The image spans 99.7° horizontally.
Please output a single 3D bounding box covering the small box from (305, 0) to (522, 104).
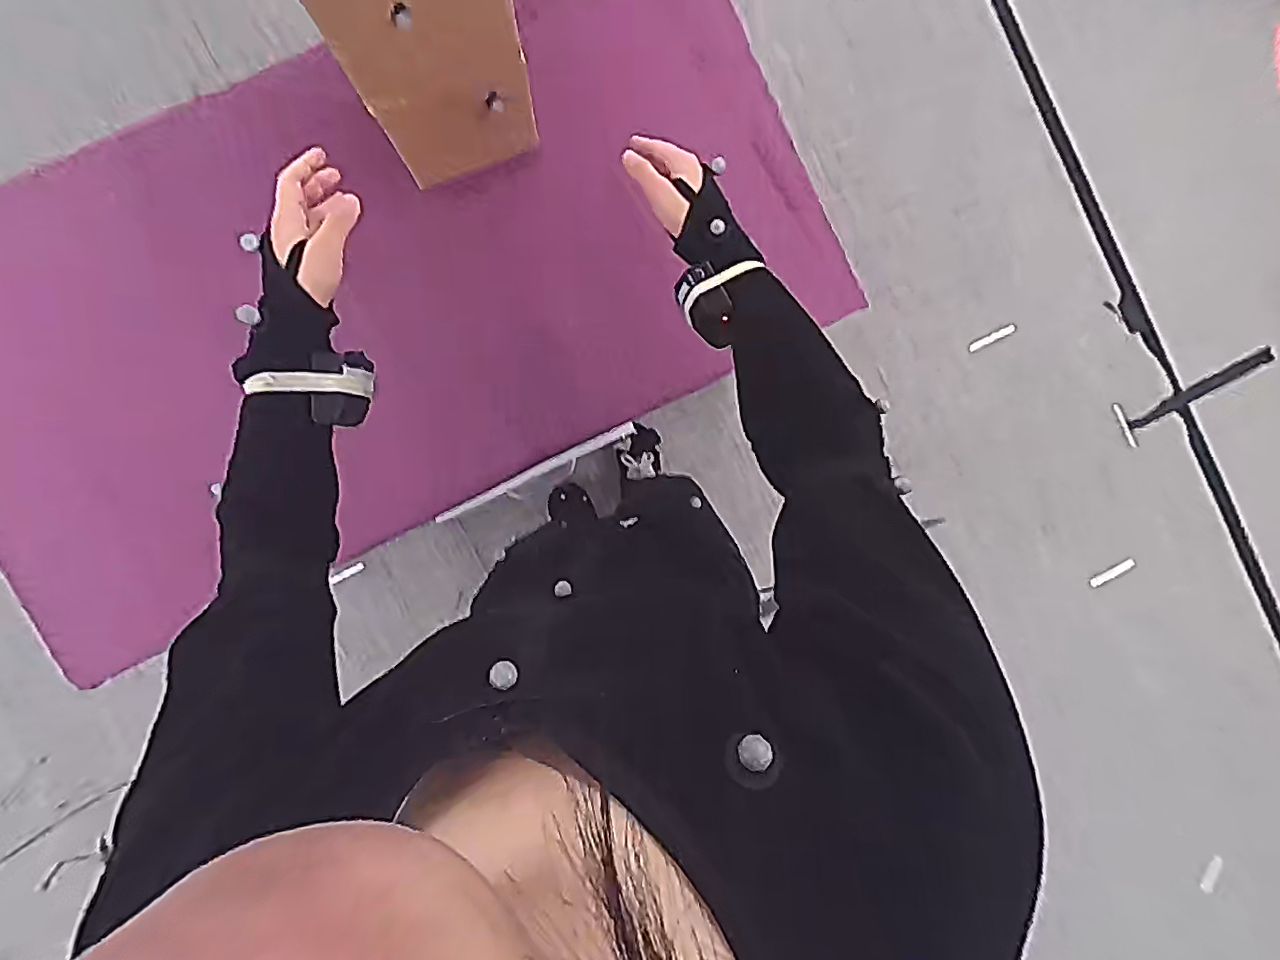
[{"bbox_3d":[-0.227,-0.492,0.493,0.179,0.176,0.168,-21,94,-3],"label":"small box"}]

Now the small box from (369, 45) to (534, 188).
[{"bbox_3d":[-0.239,-0.496,0.657,0.179,0.176,0.168,-23,93,-3],"label":"small box"}]
